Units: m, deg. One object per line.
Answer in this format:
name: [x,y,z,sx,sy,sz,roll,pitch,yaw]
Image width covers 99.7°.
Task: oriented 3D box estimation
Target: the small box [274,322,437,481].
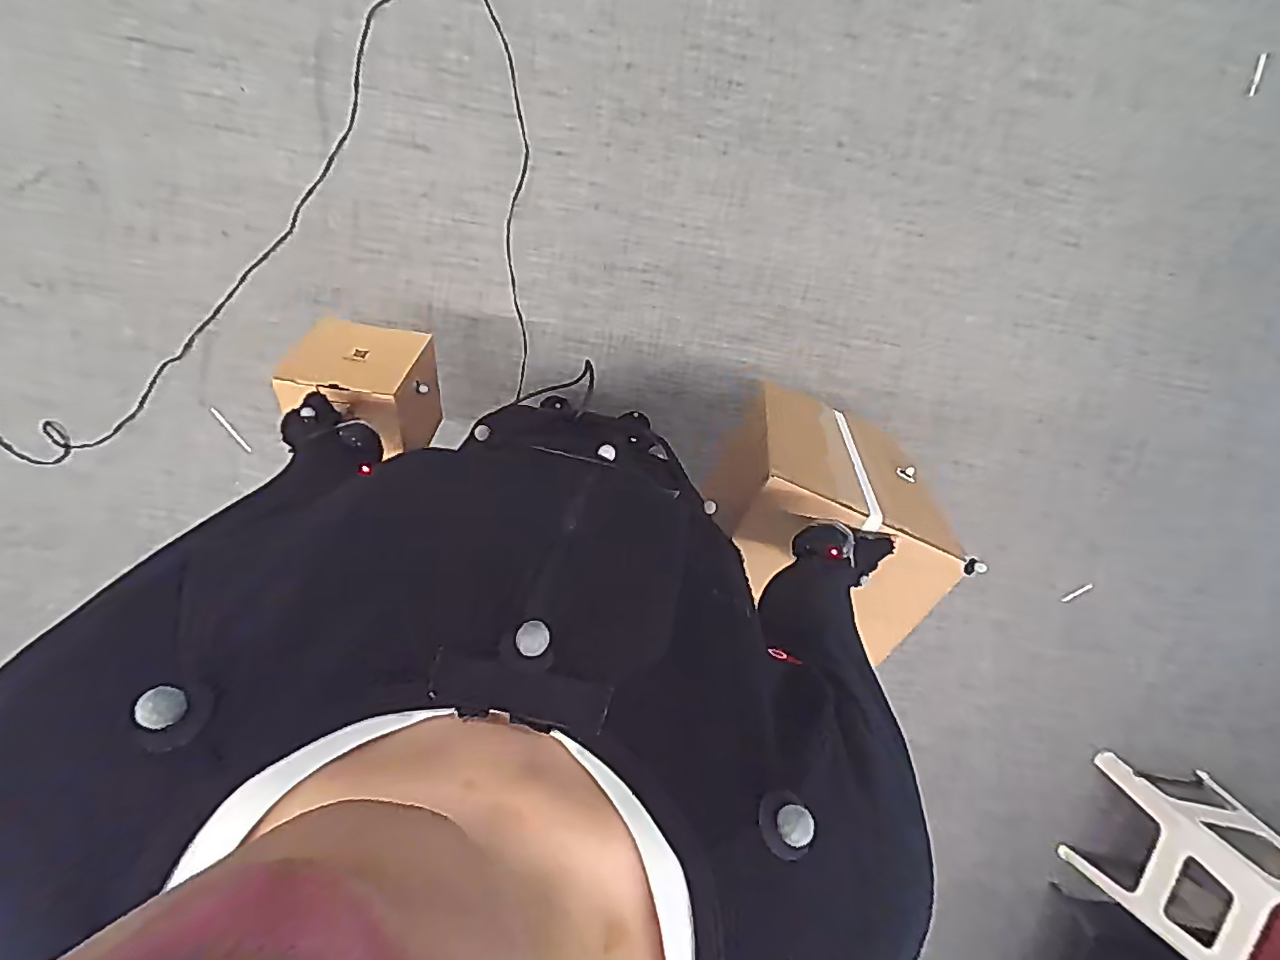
small box: [-0.432,-0.124,0.859,0.168,0.179,0.176,7,133,-4]
